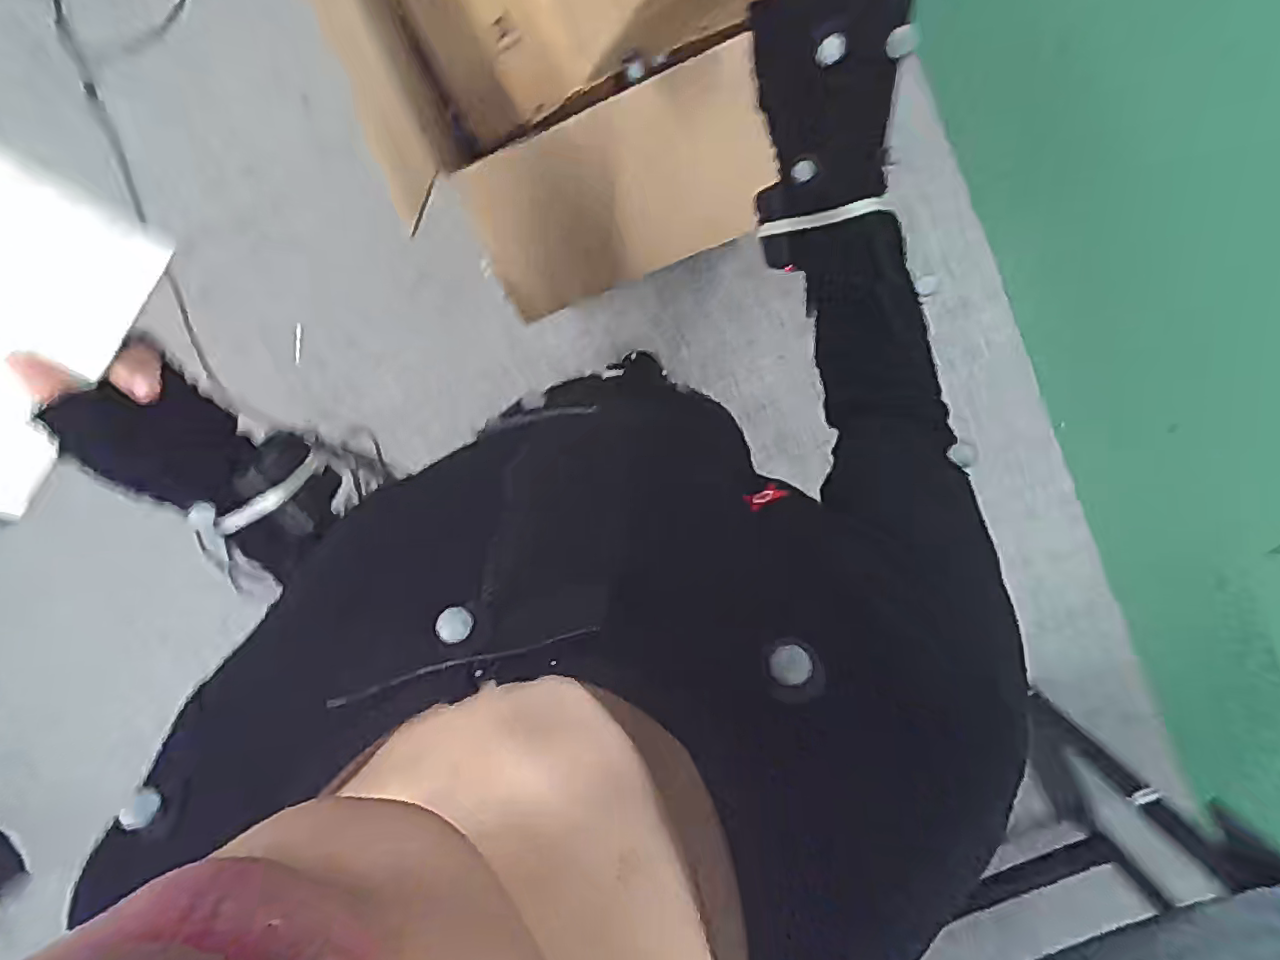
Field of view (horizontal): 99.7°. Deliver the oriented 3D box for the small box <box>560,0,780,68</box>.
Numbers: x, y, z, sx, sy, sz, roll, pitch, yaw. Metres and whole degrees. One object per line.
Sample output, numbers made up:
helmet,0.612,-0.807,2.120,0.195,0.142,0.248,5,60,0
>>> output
small box,0.028,-0.388,0.323,0.168,0.176,0.179,-30,114,-11
